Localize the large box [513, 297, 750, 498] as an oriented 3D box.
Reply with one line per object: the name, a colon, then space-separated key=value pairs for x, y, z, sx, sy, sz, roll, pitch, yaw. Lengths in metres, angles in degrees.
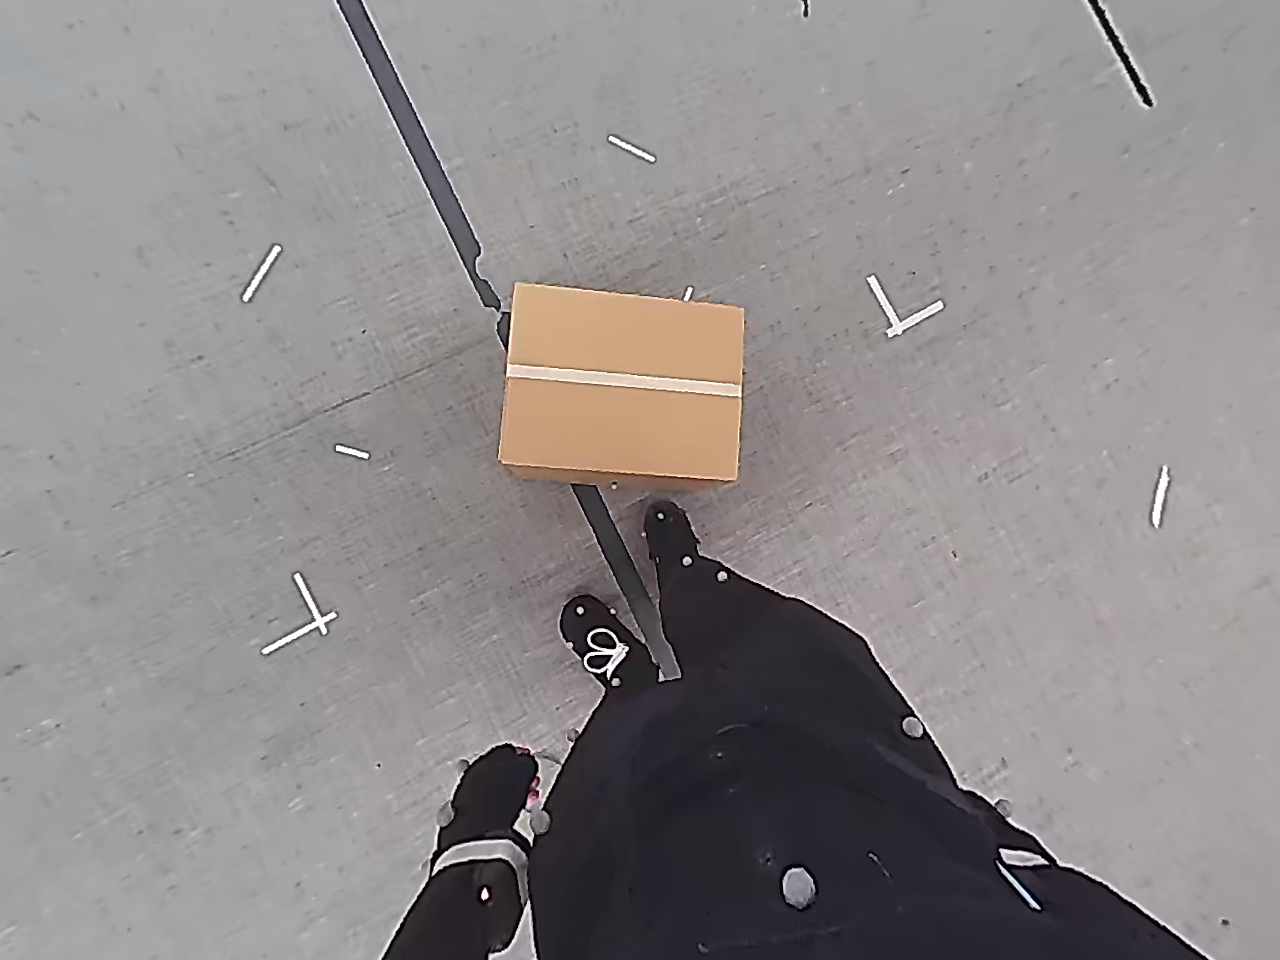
large box: x=-0.026 y=-0.136 z=1.075 sx=0.408 sy=0.320 sz=0.320 roll=4 pitch=85 yaw=-6
